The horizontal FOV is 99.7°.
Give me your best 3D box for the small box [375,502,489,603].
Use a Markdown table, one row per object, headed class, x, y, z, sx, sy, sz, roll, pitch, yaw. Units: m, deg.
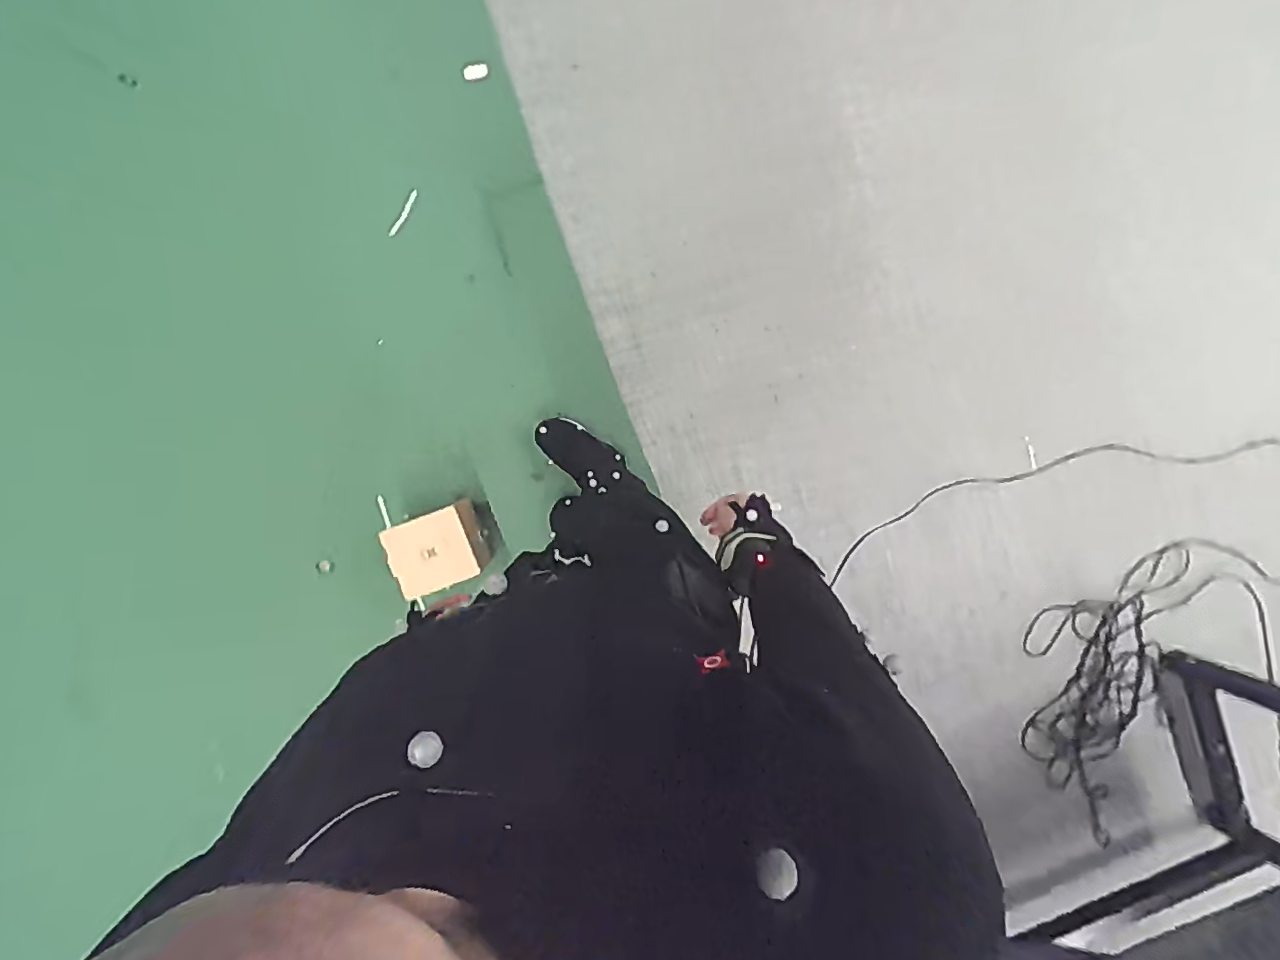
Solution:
| class | x | y | z | sx | sy | sz | roll | pitch | yaw |
| --- | --- | --- | --- | --- | --- | --- | --- | --- | --- |
| small box | -0.473 | 0.161 | 1.256 | 0.179 | 0.176 | 0.168 | -21 | 96 | -5 |
